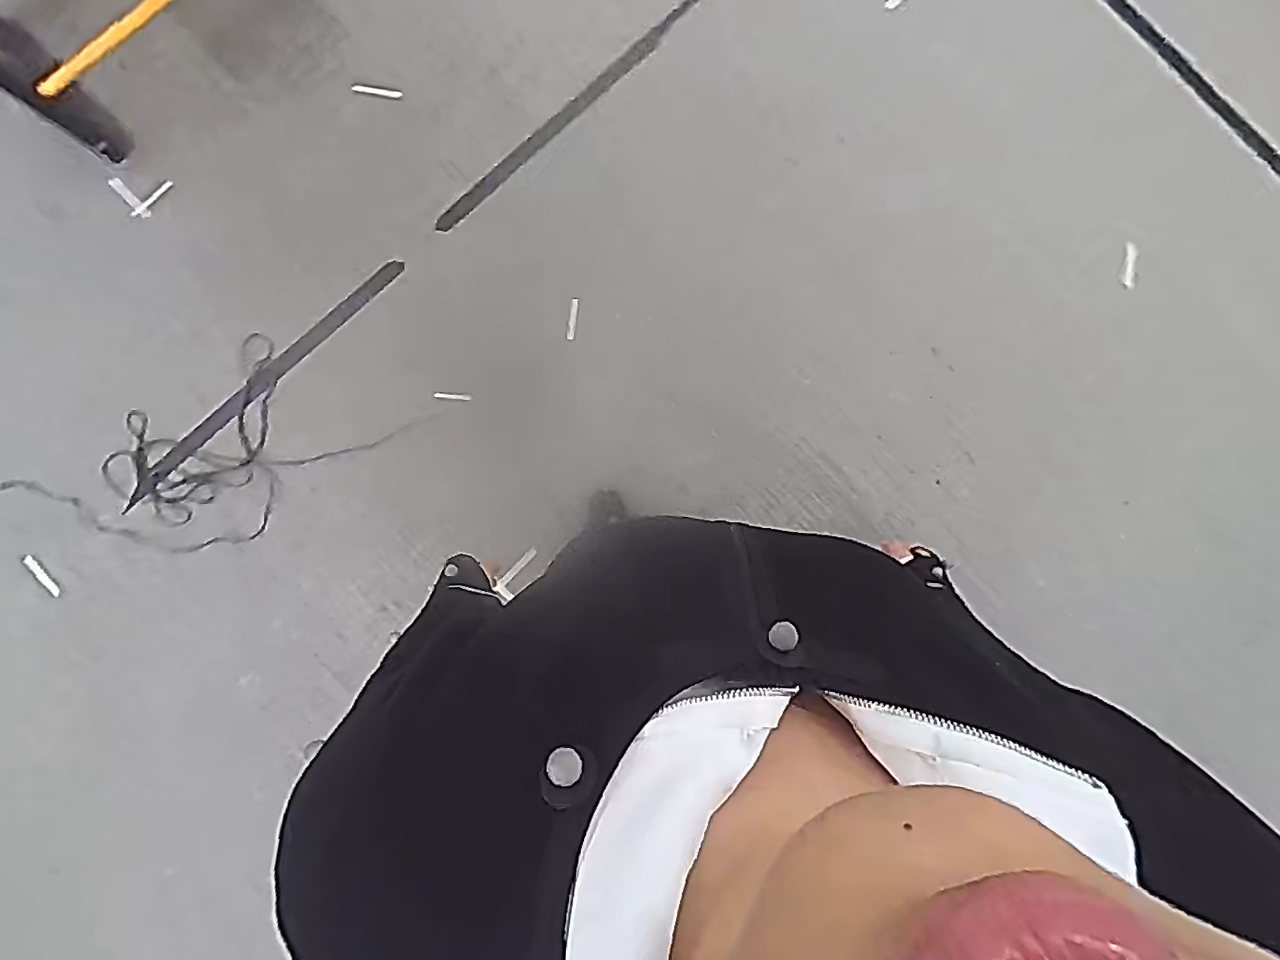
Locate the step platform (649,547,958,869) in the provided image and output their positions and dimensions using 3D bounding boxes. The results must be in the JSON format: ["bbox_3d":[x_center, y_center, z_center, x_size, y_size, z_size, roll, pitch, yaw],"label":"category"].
[{"bbox_3d":[0.339,0.468,1.187,0.684,0.204,0.286,-45,89,-1],"label":"step platform"}]

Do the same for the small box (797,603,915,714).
[{"bbox_3d":[0.476,0.381,1.227,0.168,0.176,0.179,42,88,1],"label":"small box"}]
